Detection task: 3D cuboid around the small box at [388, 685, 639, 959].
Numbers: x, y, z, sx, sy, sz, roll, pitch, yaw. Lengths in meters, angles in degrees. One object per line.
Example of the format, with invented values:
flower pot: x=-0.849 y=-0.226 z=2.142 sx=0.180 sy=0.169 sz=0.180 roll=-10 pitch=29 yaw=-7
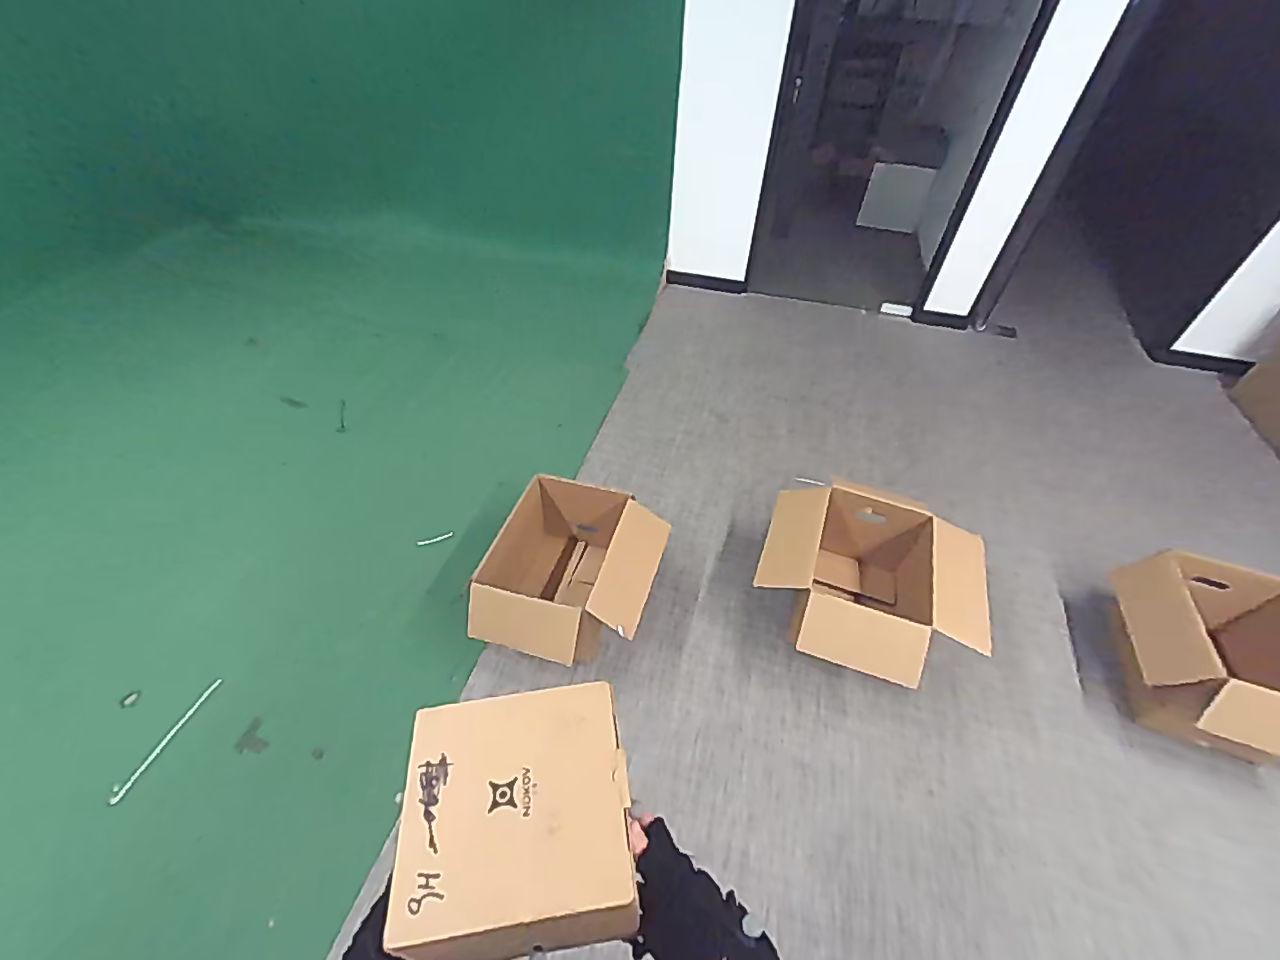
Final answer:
small box: x=-0.099 y=0.310 z=0.490 sx=0.179 sy=0.176 sz=0.168 roll=-5 pitch=43 yaw=-6
